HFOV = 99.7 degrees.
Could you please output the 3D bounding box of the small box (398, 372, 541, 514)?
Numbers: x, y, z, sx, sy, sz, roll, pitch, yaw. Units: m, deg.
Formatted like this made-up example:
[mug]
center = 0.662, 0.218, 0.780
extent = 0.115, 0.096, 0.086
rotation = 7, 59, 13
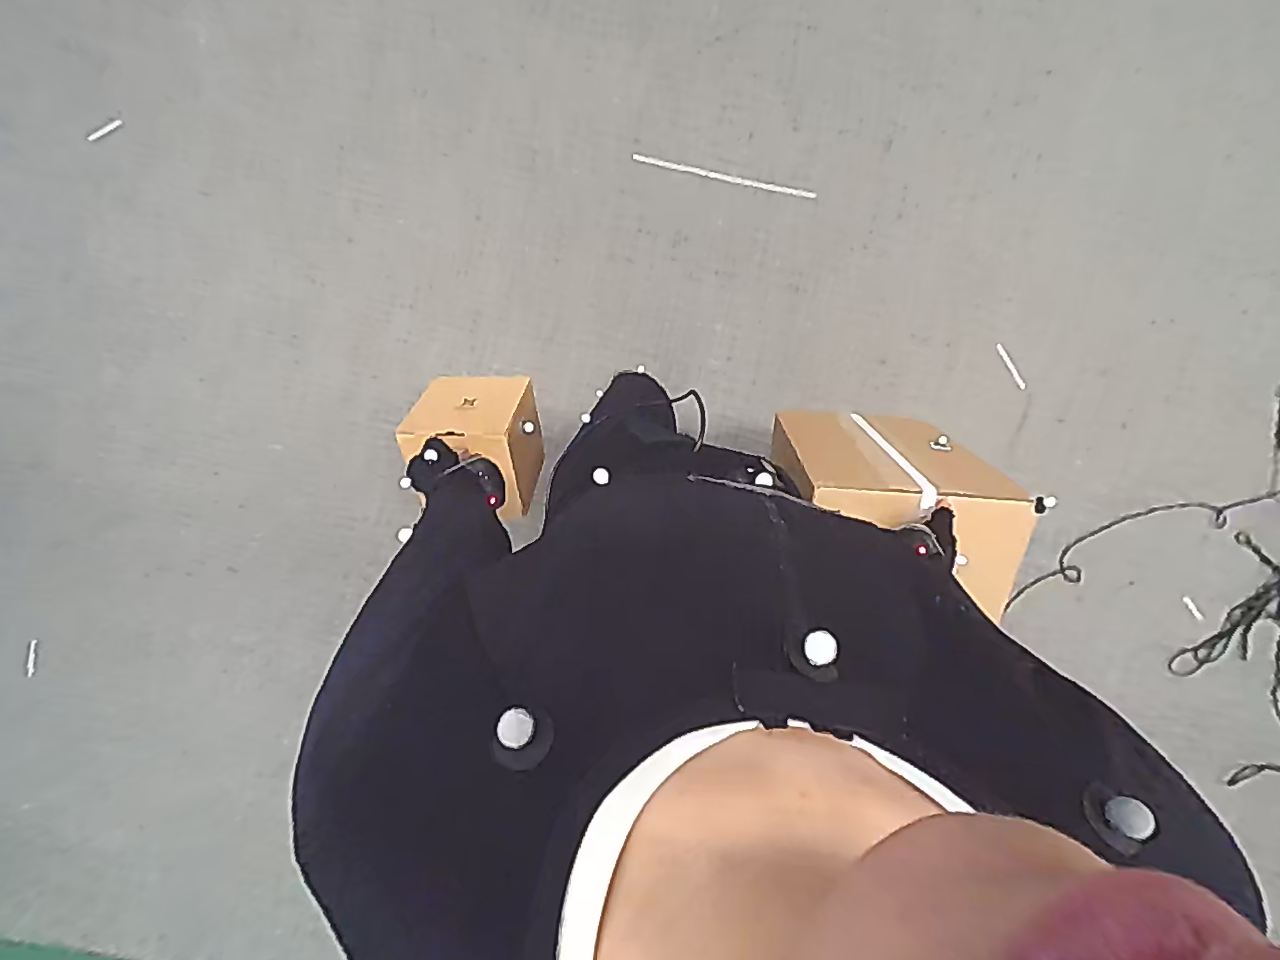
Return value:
[small box]
center = -0.267, -0.064, 0.899
extent = 0.168, 0.179, 0.176
rotation = 1, 130, 4
